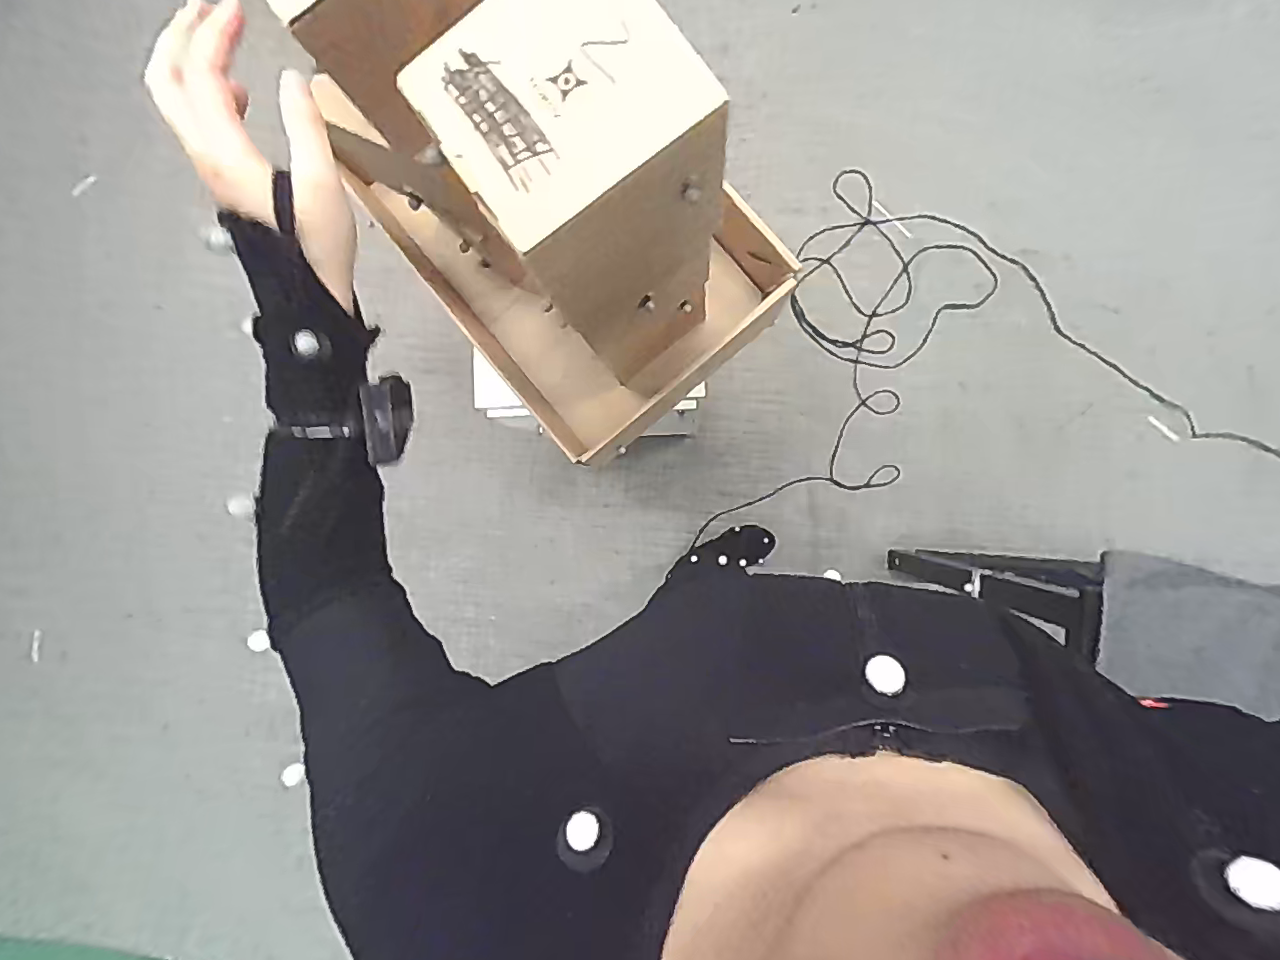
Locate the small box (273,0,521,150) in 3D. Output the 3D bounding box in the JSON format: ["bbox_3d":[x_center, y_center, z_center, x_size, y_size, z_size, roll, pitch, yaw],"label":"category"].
[{"bbox_3d":[-0.226,-0.450,0.479,0.179,0.176,0.168,-35,86,4],"label":"small box"}]

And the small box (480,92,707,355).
[{"bbox_3d":[-0.042,-0.274,0.621,0.179,0.176,0.168,-39,84,4],"label":"small box"}]

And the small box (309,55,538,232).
[{"bbox_3d":[-0.239,-0.438,0.646,0.168,0.176,0.179,25,93,5],"label":"small box"}]
